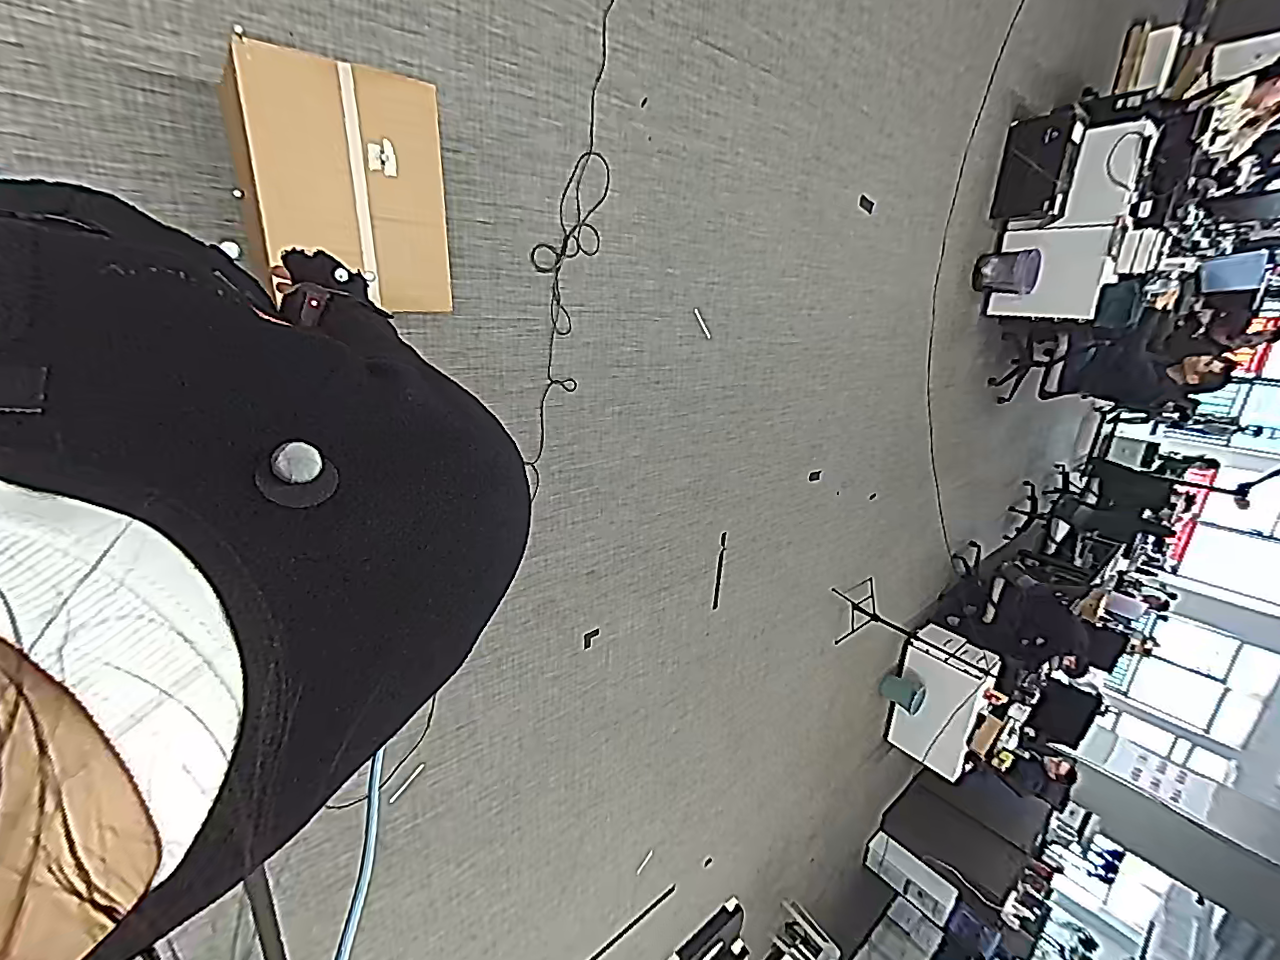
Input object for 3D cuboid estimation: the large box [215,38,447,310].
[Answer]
[{"bbox_3d":[-0.617,-0.560,1.093,0.320,0.320,0.408,-14,114,-39],"label":"large box"}]
